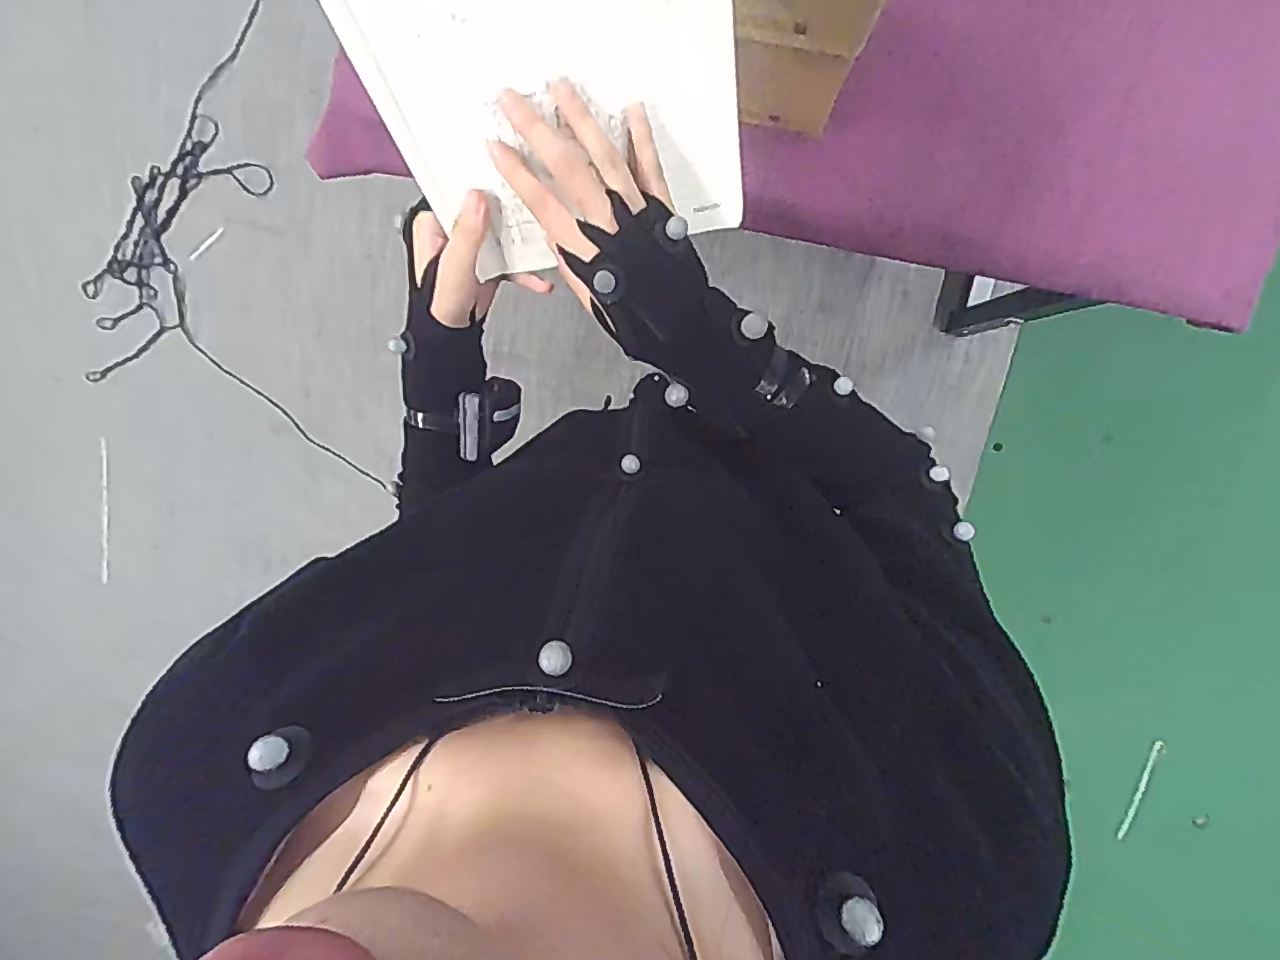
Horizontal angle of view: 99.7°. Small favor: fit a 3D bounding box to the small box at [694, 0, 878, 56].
[{"bbox_3d":[0.138,-0.495,0.438,0.168,0.176,0.179,13,98,4],"label":"small box"}]
